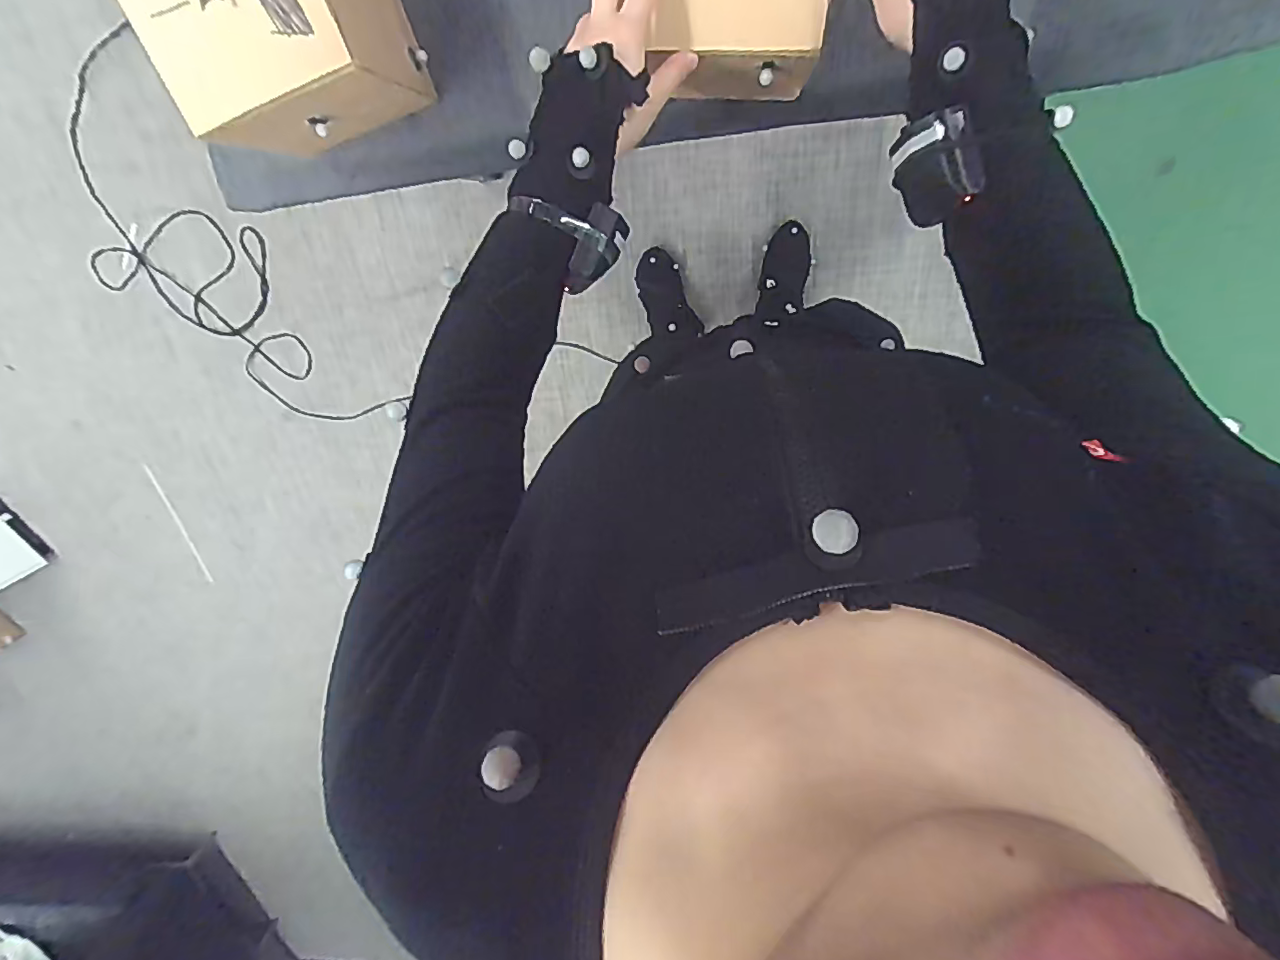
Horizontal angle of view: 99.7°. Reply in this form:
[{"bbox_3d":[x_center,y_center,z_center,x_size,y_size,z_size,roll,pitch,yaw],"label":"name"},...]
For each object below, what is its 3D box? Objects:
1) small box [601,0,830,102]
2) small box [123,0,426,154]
[{"bbox_3d":[0.068,-0.438,0.464,0.179,0.176,0.168,4,116,6],"label":"small box"},{"bbox_3d":[-0.332,-0.431,0.511,0.179,0.176,0.168,-13,114,13],"label":"small box"}]
